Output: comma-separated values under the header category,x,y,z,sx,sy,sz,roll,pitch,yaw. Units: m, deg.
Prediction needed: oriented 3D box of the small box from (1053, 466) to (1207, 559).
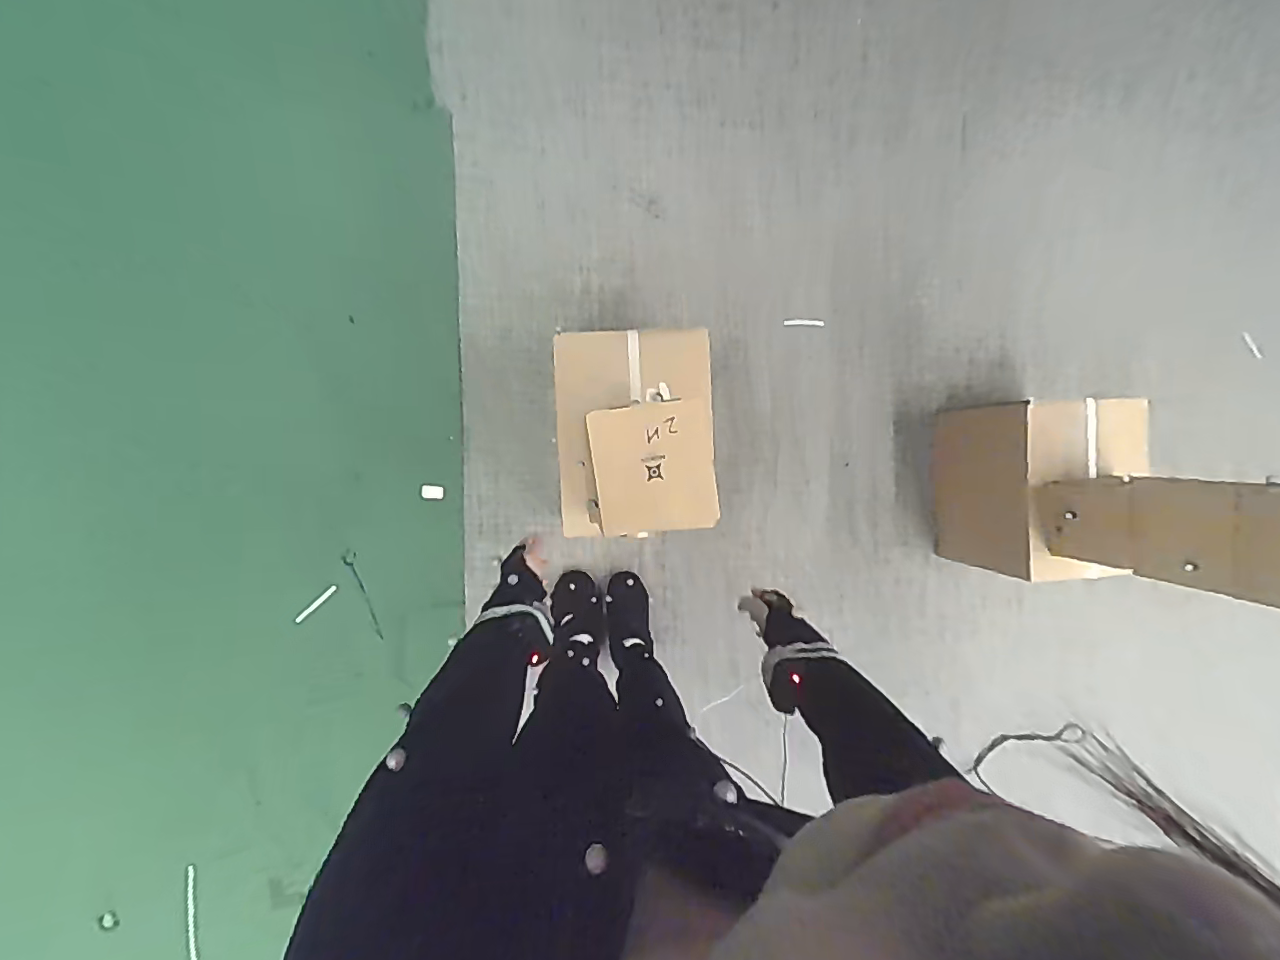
category,x,y,z,sx,sy,sz,roll,pitch,yaw
small box,1.007,0.060,1.121,0.179,0.176,0.168,-5,94,-6

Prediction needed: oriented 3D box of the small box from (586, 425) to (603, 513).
category,x,y,z,sx,sy,sz,roll,pitch,yaw
small box,-0.004,-0.035,0.978,0.179,0.176,0.168,-4,93,-6

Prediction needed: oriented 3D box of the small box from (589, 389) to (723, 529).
category,x,y,z,sx,sy,sz,roll,pitch,yaw
small box,0.016,-0.033,0.815,0.168,0.176,0.179,-8,93,-7

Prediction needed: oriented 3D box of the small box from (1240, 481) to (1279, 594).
category,x,y,z,sx,sy,sz,roll,pitch,yaw
small box,1.055,0.092,0.797,0.168,0.176,0.179,-1,95,-6

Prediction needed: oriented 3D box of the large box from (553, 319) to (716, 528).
category,x,y,z,sx,sy,sz,roll,pitch,yaw
large box,-0.021,-0.118,1.218,0.320,0.320,0.408,-3,93,-7
